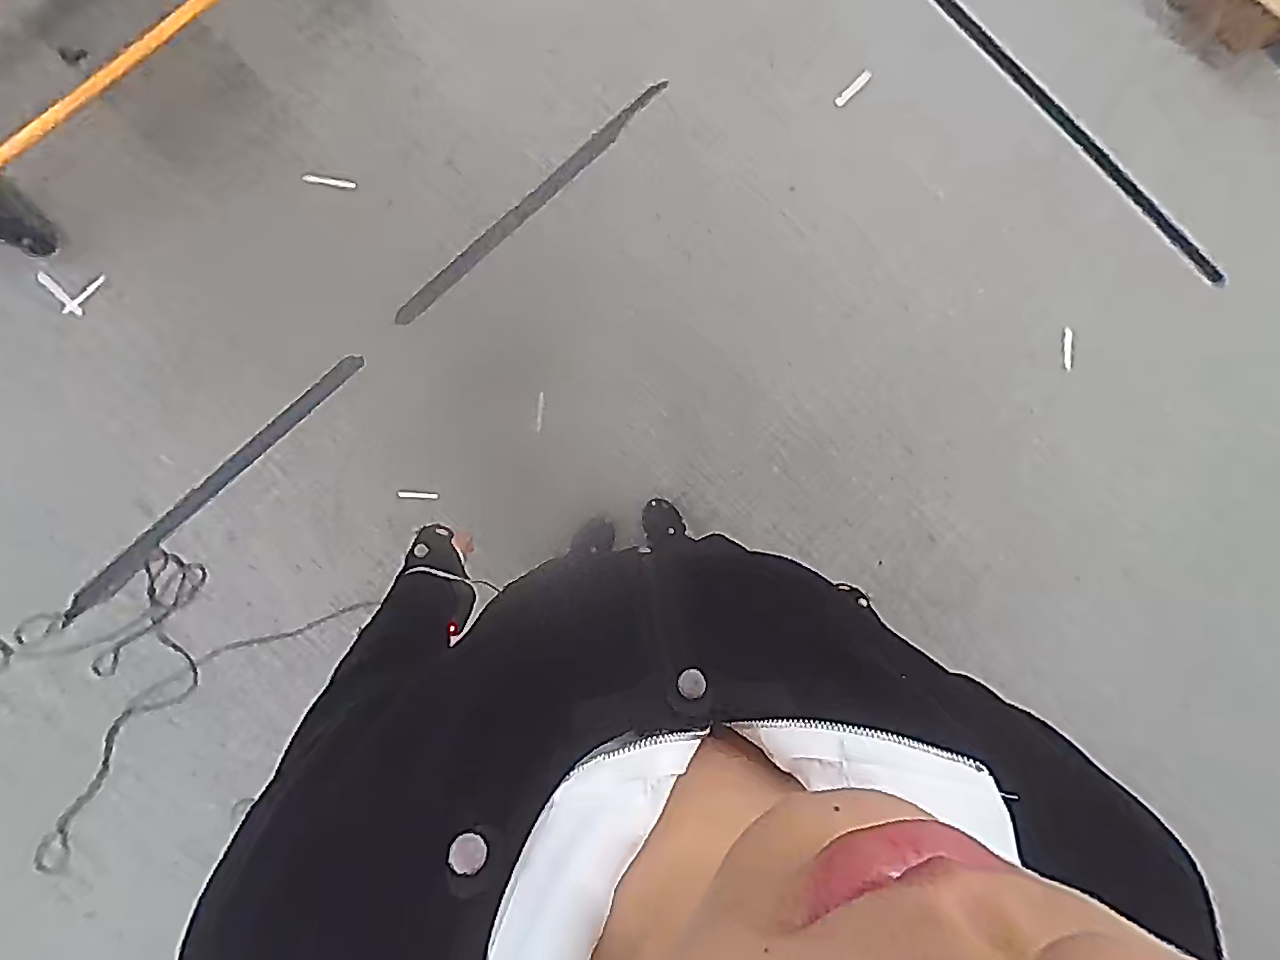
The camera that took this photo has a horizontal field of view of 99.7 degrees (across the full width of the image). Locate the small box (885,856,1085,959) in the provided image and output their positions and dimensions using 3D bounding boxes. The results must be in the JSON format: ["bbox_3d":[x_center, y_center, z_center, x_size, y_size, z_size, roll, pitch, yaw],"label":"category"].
[{"bbox_3d":[0.431,0.591,0.633,0.179,0.176,0.168,43,85,1],"label":"small box"}]

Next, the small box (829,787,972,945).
[{"bbox_3d":[0.419,0.602,0.796,0.179,0.176,0.168,44,85,1],"label":"small box"}]
